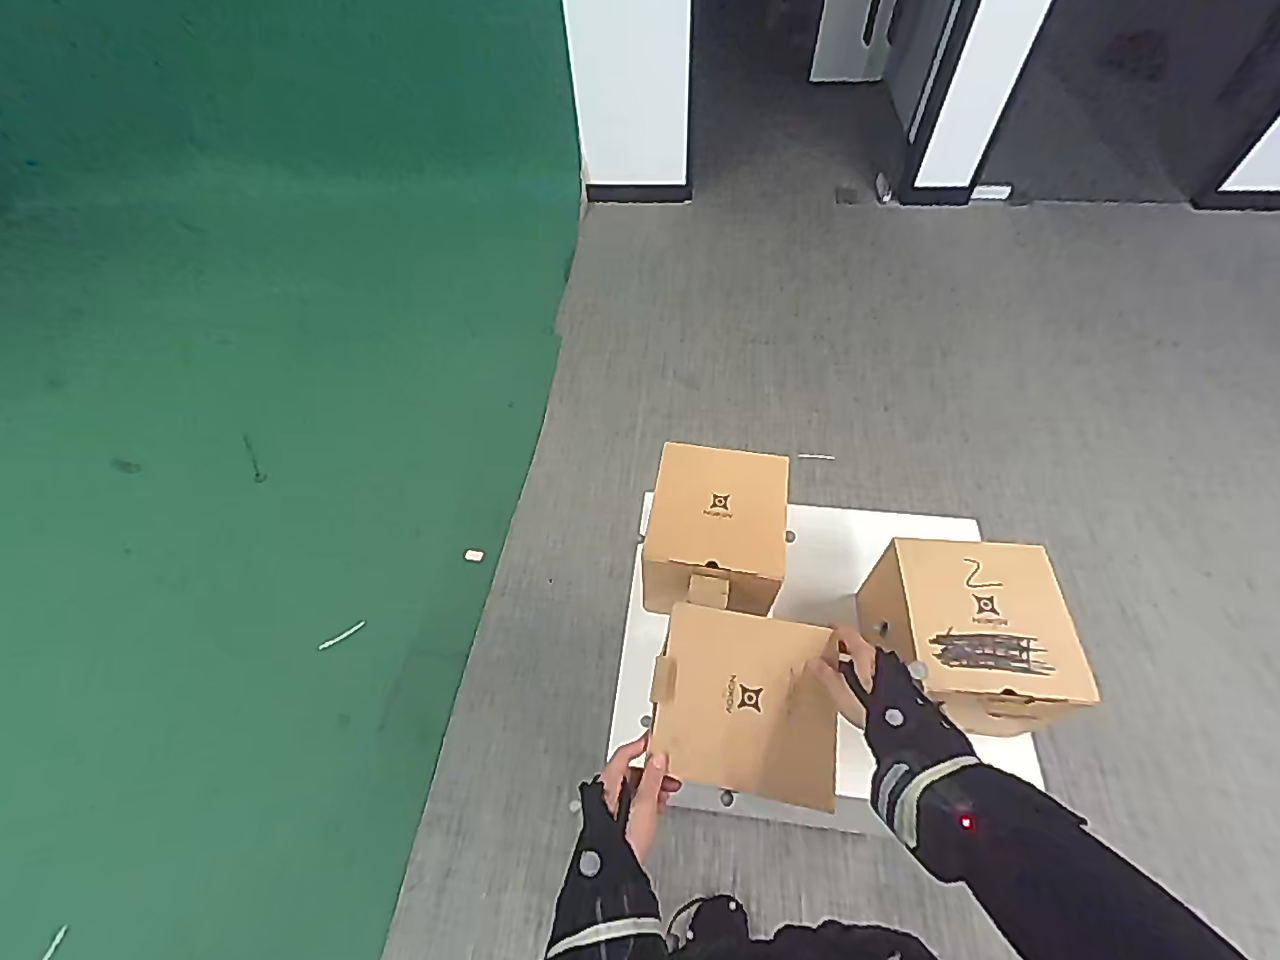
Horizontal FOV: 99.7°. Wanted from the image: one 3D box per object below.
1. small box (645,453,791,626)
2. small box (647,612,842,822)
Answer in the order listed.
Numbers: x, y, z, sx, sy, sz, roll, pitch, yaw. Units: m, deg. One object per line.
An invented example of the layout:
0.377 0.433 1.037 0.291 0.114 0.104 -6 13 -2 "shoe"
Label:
0.100 0.091 0.726 0.168 0.176 0.179 8 56 7 "small box"
0.110 0.260 0.594 0.179 0.176 0.168 8 62 7 "small box"
